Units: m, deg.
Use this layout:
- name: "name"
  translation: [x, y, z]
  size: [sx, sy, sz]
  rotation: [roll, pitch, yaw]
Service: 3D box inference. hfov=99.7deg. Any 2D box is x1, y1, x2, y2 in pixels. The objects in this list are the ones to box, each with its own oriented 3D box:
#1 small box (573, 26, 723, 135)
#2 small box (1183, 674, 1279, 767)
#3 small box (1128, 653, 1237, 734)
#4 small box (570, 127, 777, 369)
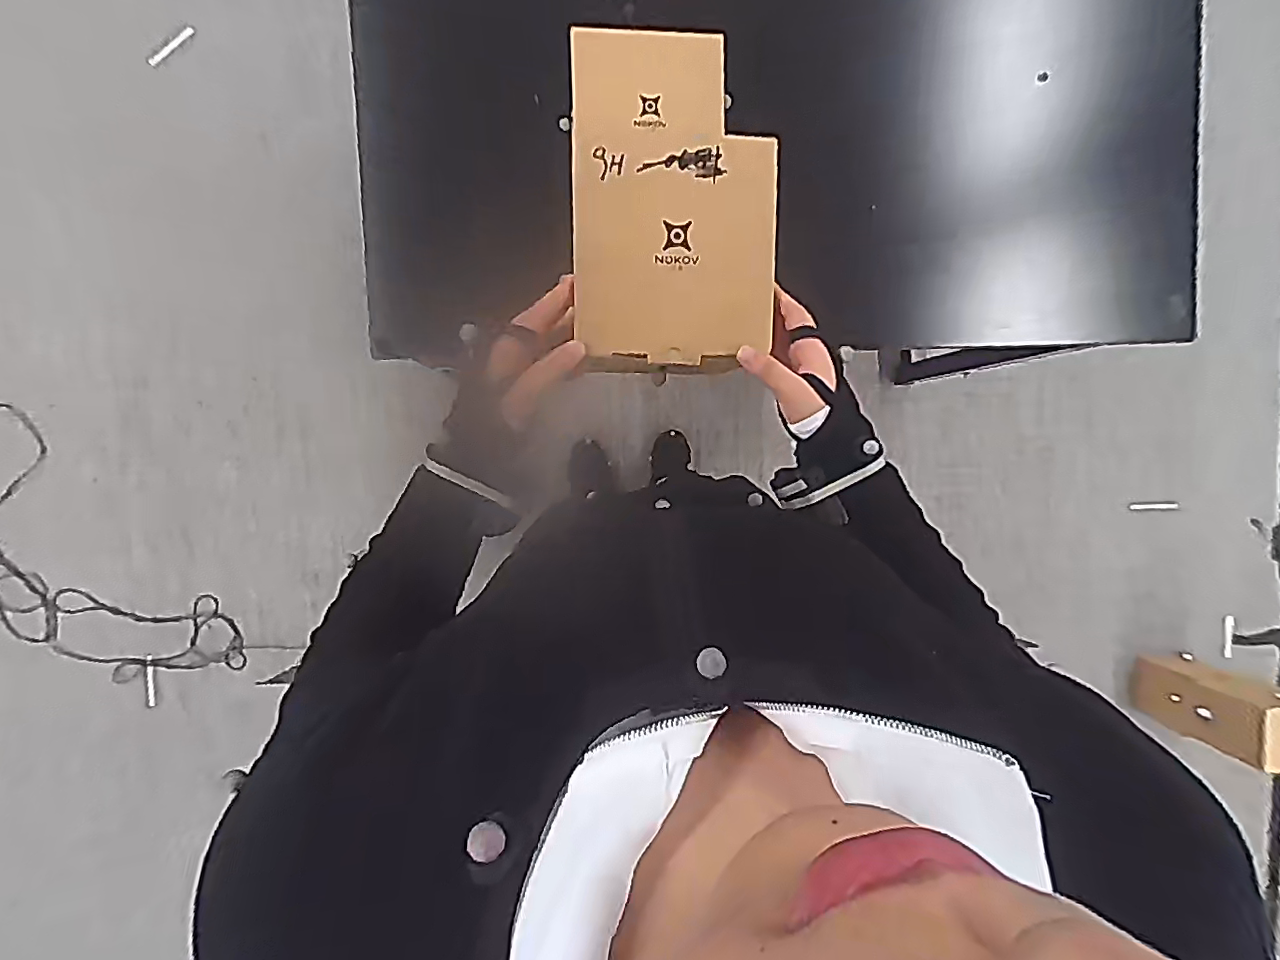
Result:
- name: "small box"
  translation: [0.002, -0.397, 0.661]
  size: [0.168, 0.176, 0.179]
  rotation: [-1, 94, -5]
- name: "small box"
  translation: [1.613, 0.630, 1.435]
  size: [0.179, 0.176, 0.168]
  rotation: [-3, 93, -3]
- name: "small box"
  translation: [1.599, 0.624, 1.597]
  size: [0.168, 0.176, 0.179]
  rotation: [1, 95, -5]
- name: "small box"
  translation: [0.020, -0.198, 0.513]
  size: [0.168, 0.176, 0.179]
  rotation: [-1, 98, -6]
